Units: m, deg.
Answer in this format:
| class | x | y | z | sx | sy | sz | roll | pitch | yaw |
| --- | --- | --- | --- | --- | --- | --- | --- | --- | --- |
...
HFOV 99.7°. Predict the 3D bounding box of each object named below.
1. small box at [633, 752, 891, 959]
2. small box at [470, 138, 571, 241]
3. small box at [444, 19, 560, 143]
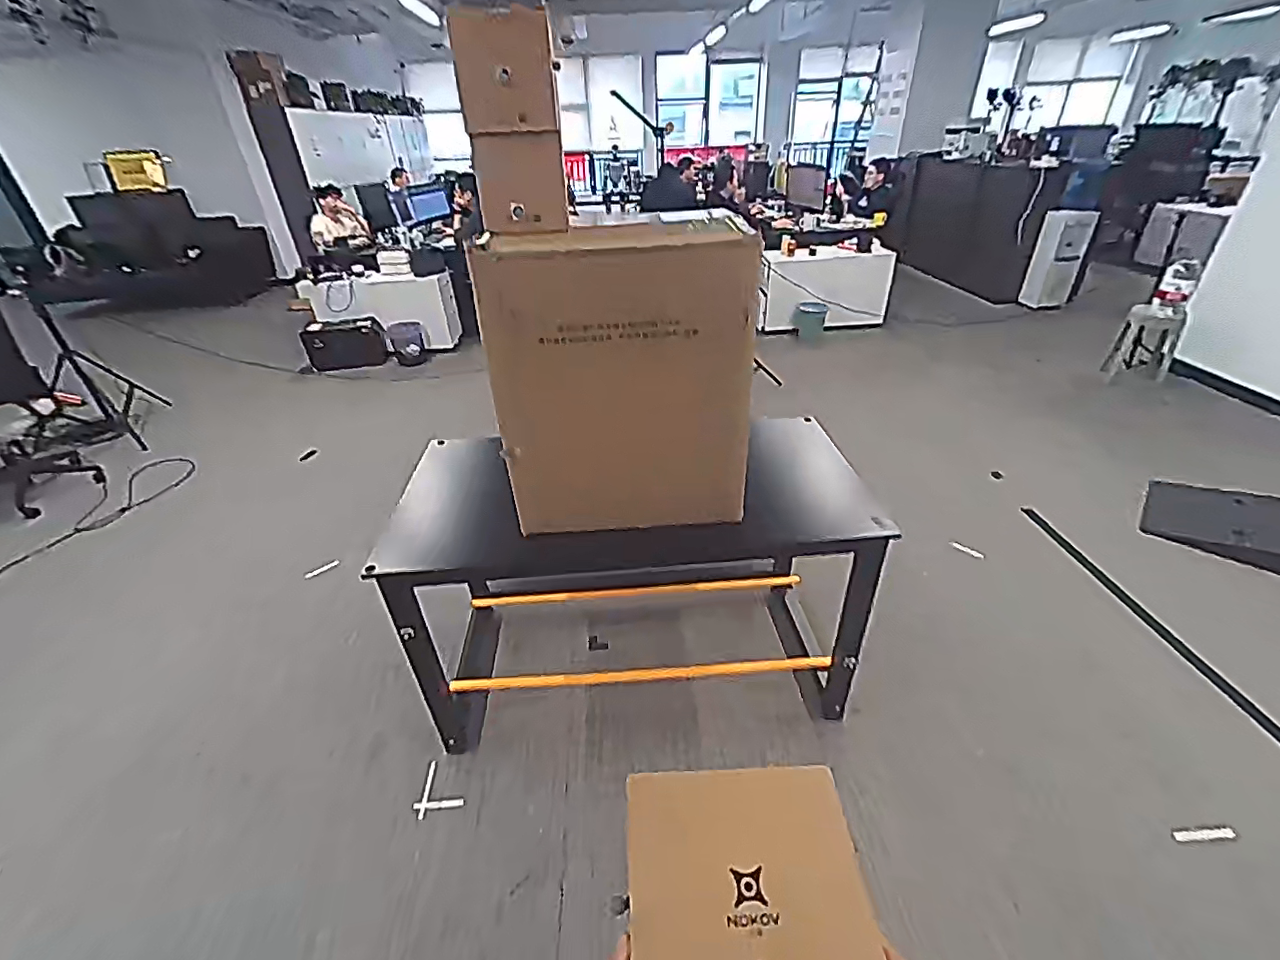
| class | x | y | z | sx | sy | sz | roll | pitch | yaw |
| --- | --- | --- | --- | --- | --- | --- | --- | --- | --- |
| small box | 0.078 | 0.343 | 0.428 | 0.168 | 0.176 | 0.179 | -2 | 40 | -1 |
| small box | -0.231 | -0.583 | 1.085 | 0.168 | 0.176 | 0.179 | -7 | 33 | -5 |
| small box | -0.239 | -0.713 | 0.985 | 0.168 | 0.176 | 0.179 | -5 | 33 | -4 |
